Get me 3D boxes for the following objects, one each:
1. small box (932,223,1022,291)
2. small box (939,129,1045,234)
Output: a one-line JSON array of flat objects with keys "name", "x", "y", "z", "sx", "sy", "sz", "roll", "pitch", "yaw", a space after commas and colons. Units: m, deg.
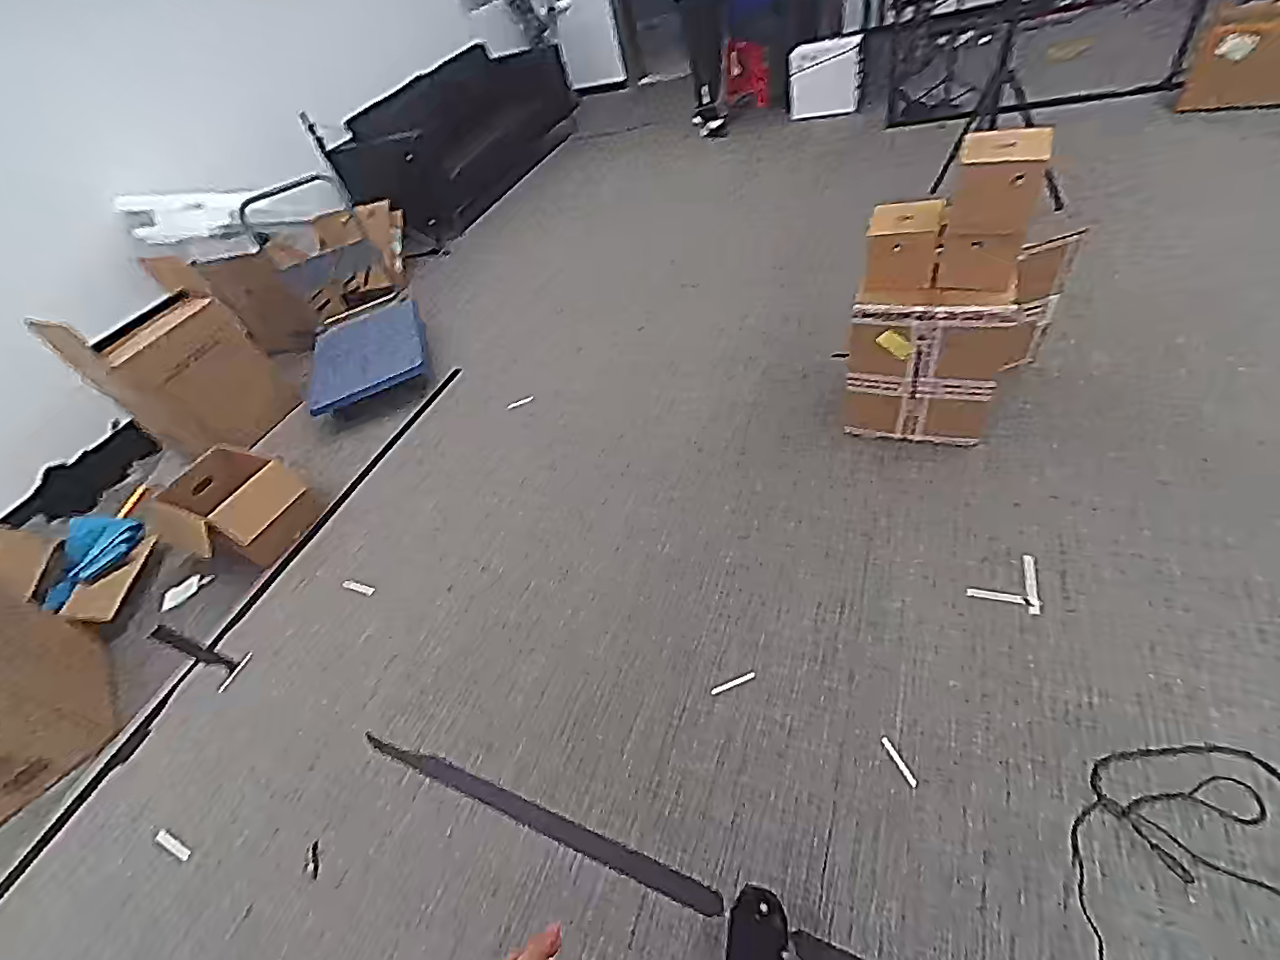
[{"name": "small box", "x": 0.887, "y": -0.619, "z": 1.426, "sx": 0.179, "sy": 0.176, "sz": 0.168, "roll": 14, "pitch": 56, "yaw": 26}, {"name": "small box", "x": 0.836, "y": -0.706, "z": 1.293, "sx": 0.179, "sy": 0.176, "sz": 0.168, "roll": 11, "pitch": 54, "yaw": 25}]
